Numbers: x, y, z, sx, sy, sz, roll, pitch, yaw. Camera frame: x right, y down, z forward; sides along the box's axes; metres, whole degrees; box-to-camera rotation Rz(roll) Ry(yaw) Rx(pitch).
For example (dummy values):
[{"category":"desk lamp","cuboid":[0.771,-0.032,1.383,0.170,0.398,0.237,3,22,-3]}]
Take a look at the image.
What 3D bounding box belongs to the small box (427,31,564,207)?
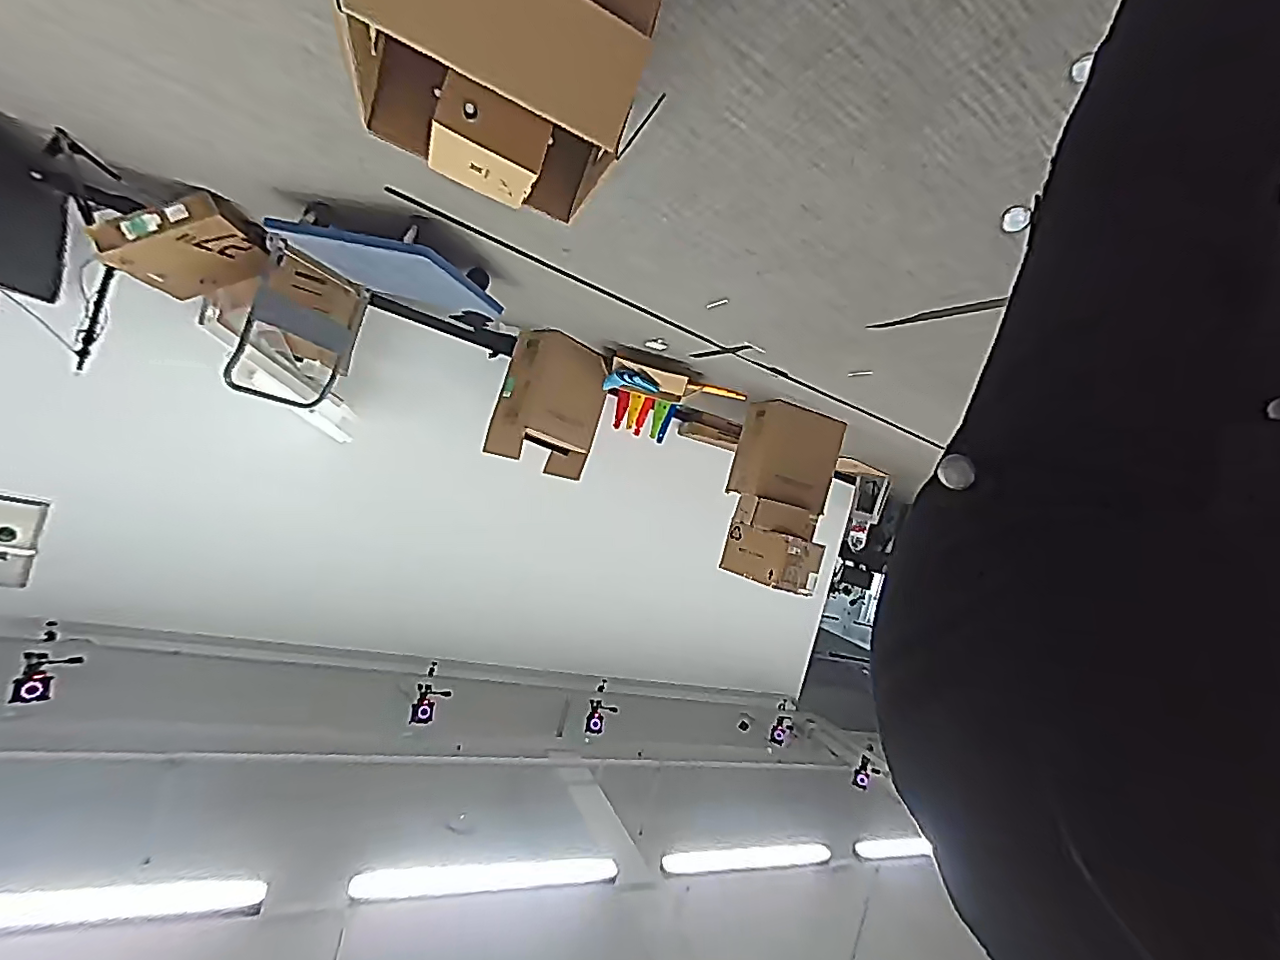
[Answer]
[{"category":"small box","cuboid":[-0.255,-0.624,0.943,0.179,0.176,0.168,16,179,-25]}]
